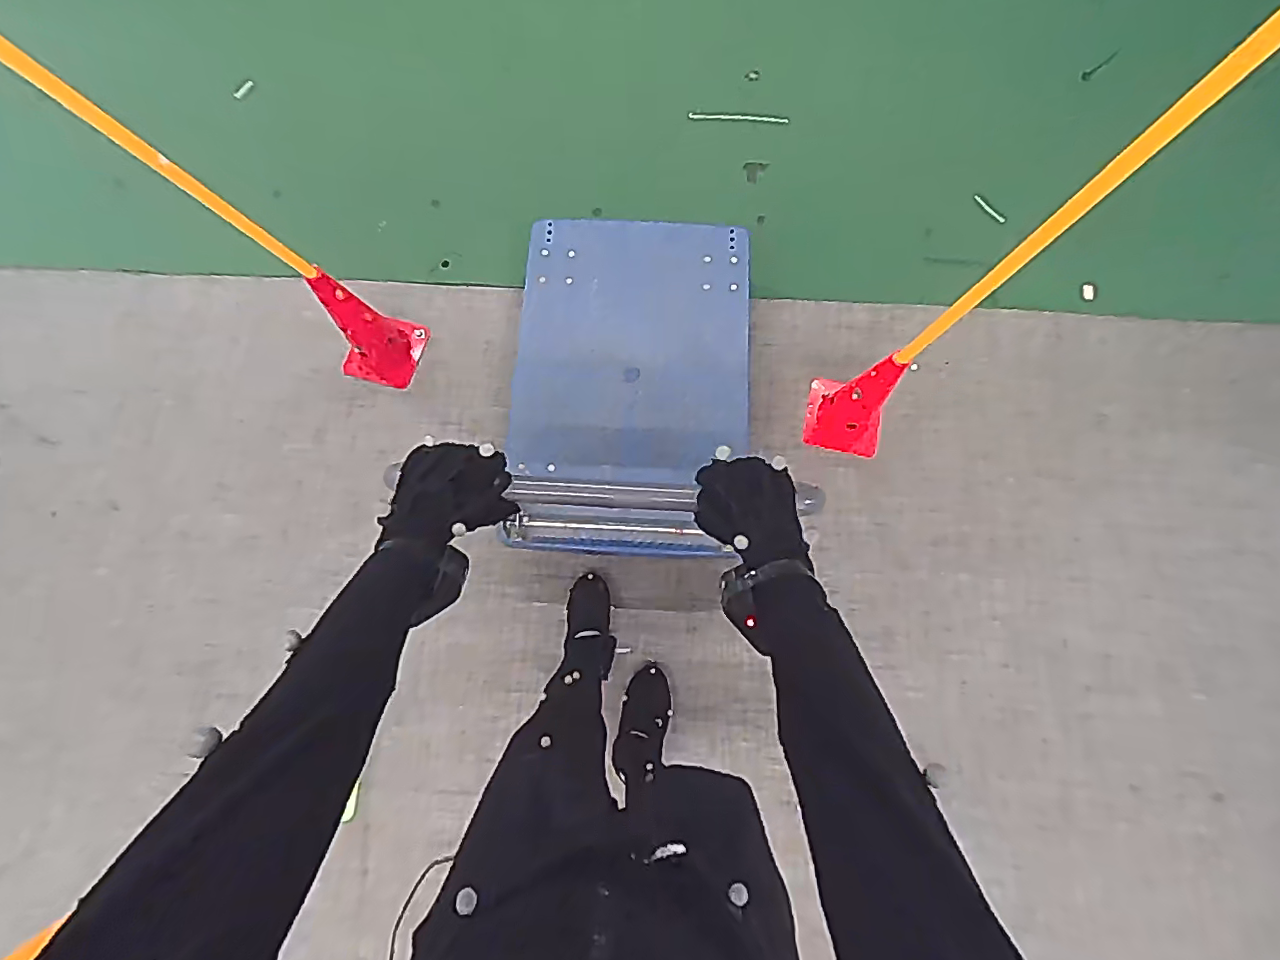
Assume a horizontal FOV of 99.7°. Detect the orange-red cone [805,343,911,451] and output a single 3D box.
[{"bbox_3d":[0.556,-0.226,1.304,0.198,0.360,0.199,14,77,4],"label":"orange-red cone"}]
